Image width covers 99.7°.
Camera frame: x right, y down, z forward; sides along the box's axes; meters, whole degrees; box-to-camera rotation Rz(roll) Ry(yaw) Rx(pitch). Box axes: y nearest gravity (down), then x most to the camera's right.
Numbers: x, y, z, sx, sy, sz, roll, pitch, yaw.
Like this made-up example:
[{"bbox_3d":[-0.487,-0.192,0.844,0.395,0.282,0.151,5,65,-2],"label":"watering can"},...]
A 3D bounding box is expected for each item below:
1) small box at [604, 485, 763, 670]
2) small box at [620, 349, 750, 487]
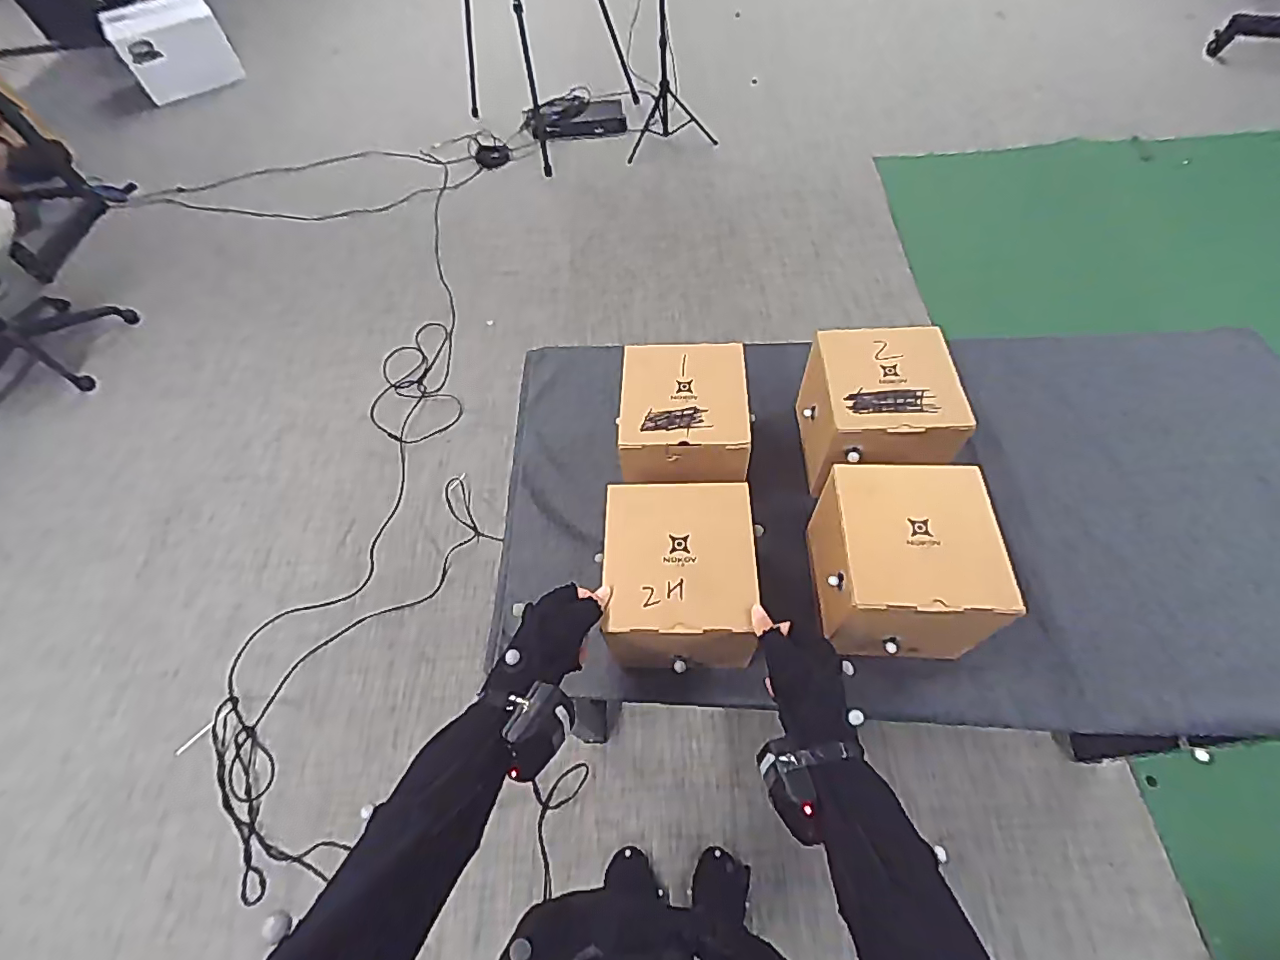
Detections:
[{"bbox_3d":[0.051,0.123,0.661,0.168,0.176,0.179,-1,59,4],"label":"small box"},{"bbox_3d":[0.066,-0.065,0.780,0.168,0.176,0.179,0,57,4],"label":"small box"}]
